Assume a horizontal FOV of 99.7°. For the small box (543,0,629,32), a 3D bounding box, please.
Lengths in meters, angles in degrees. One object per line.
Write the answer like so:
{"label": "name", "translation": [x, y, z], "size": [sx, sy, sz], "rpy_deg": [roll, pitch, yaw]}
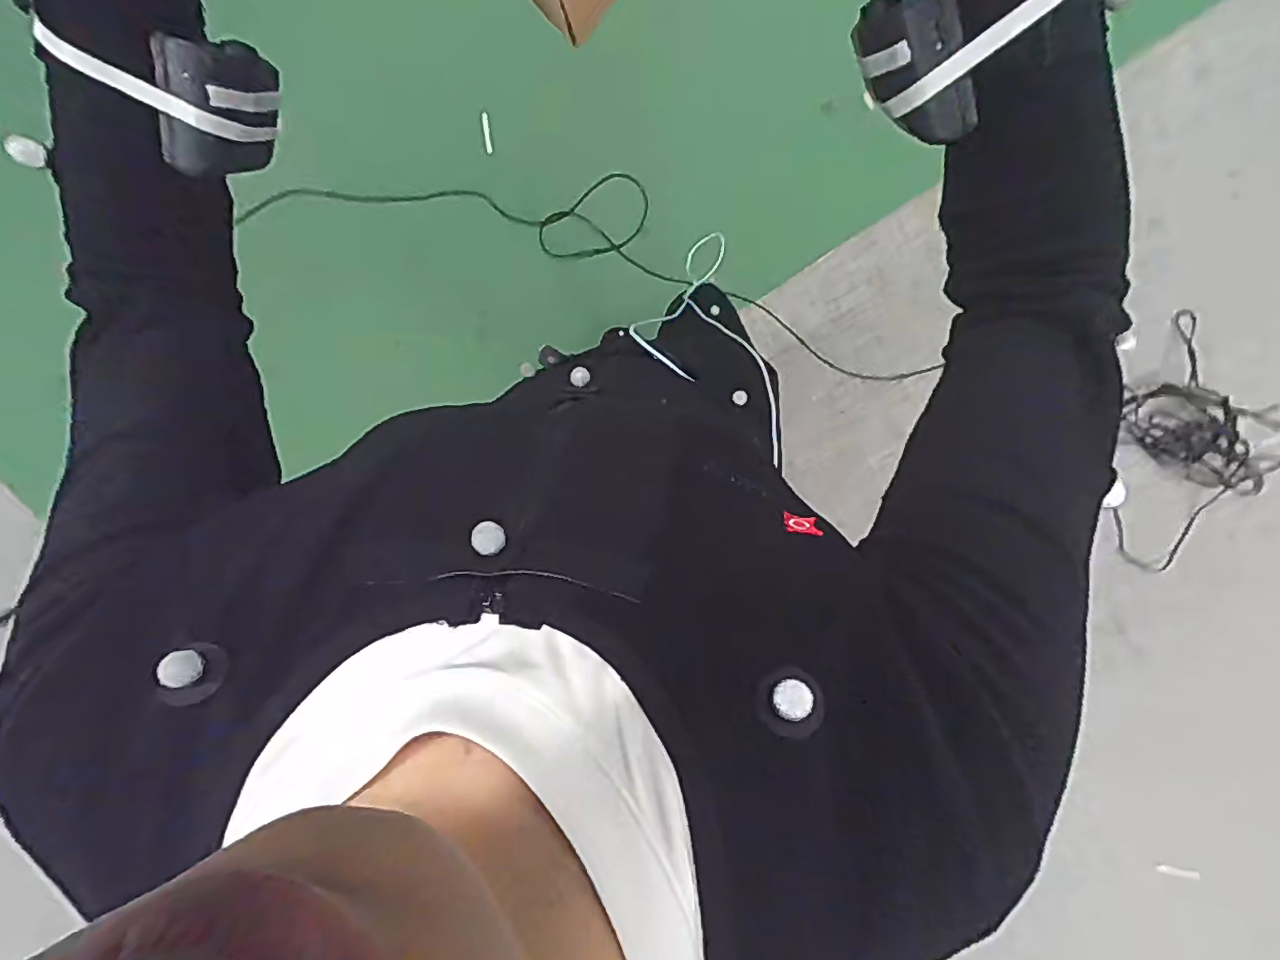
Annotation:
{"label": "small box", "translation": [-0.041, -0.368, 0.243], "size": [0.179, 0.176, 0.168], "rpy_deg": [43, 106, -13]}
